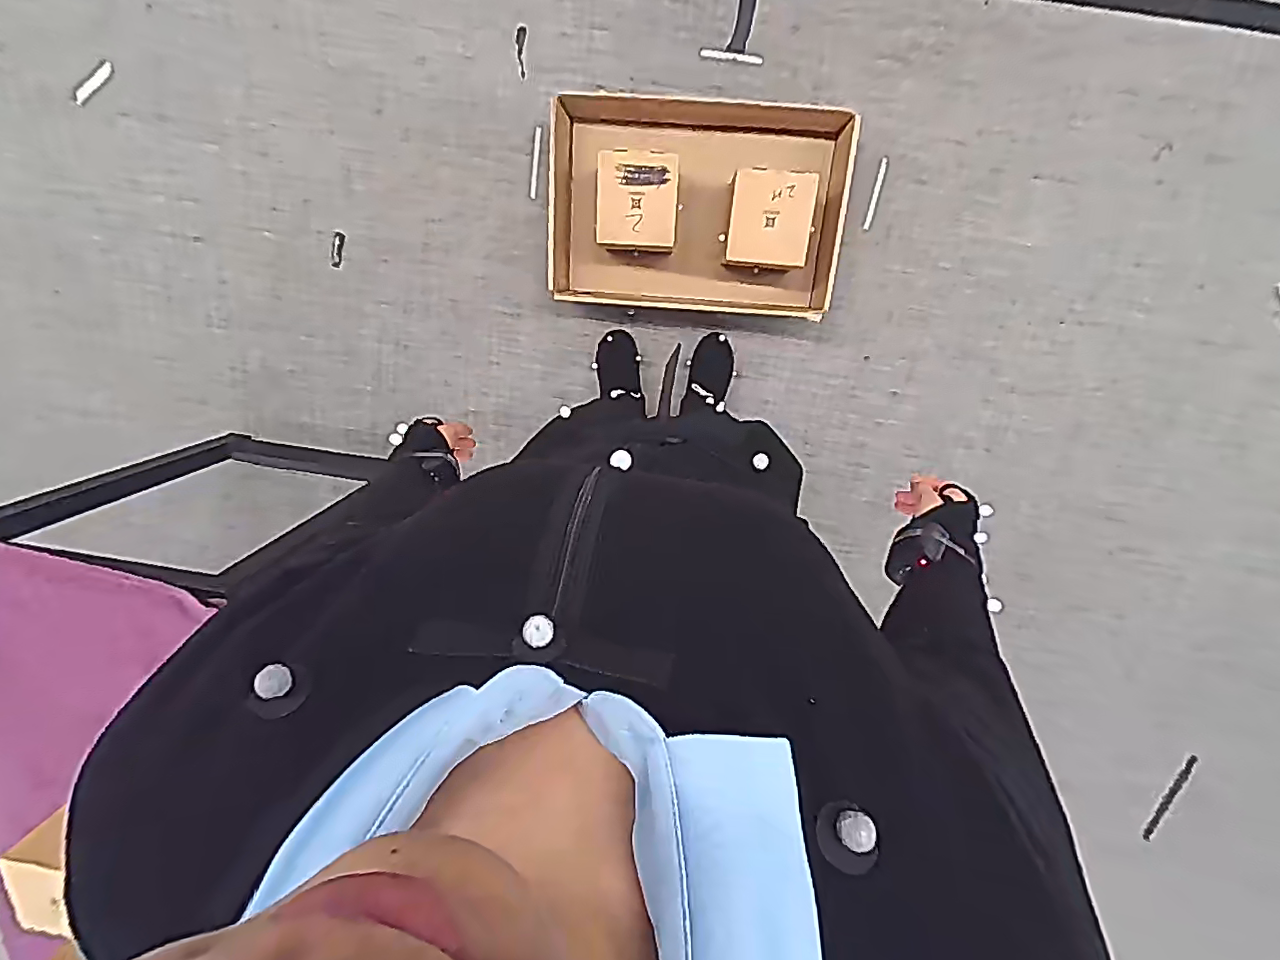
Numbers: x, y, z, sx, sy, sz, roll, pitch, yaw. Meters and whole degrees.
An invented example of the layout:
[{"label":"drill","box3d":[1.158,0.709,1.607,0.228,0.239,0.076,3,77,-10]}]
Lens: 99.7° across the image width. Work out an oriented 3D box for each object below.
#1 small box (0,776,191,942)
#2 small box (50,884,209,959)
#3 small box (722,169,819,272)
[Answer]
[{"label":"small box","box3d":[-0.962,0.672,0.974,0.168,0.176,0.179,10,110,1]},{"label":"small box","box3d":[-0.997,0.940,1.066,0.168,0.176,0.179,10,108,1]},{"label":"small box","box3d":[0.273,-0.554,1.176,0.168,0.176,0.179,6,108,2]}]
